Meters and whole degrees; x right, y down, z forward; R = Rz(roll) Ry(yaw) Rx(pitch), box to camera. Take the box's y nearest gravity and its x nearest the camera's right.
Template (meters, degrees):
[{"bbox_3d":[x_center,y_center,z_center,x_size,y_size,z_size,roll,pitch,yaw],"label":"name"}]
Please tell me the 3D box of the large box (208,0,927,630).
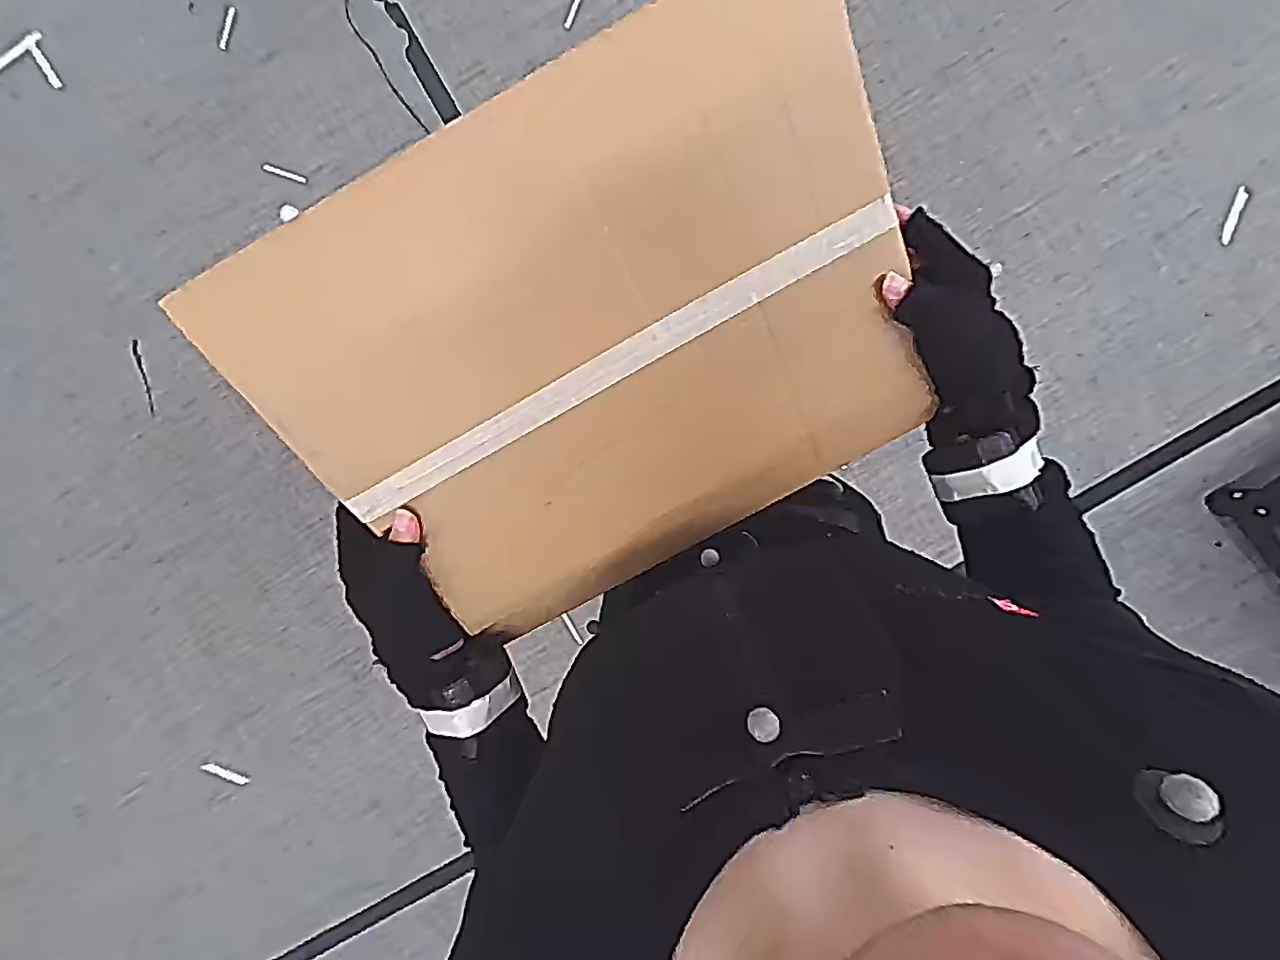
[{"bbox_3d":[-0.041,-0.147,0.499,0.408,0.320,0.320,-28,118,4],"label":"large box"}]
